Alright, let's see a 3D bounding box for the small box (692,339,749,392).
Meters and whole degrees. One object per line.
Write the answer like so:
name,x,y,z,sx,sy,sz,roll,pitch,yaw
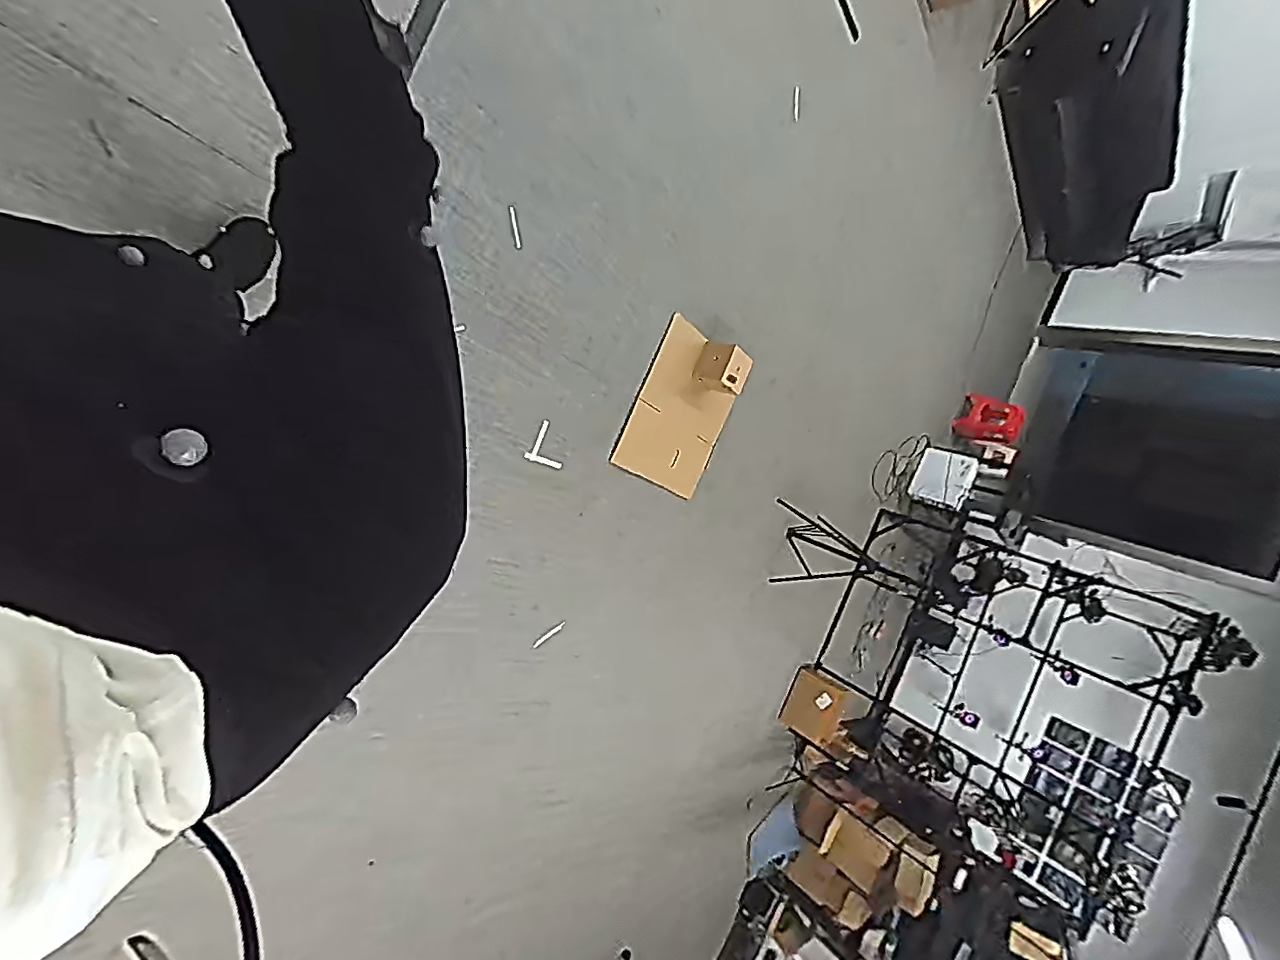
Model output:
small box,0.359,-0.522,2.447,0.168,0.176,0.179,25,87,-47
